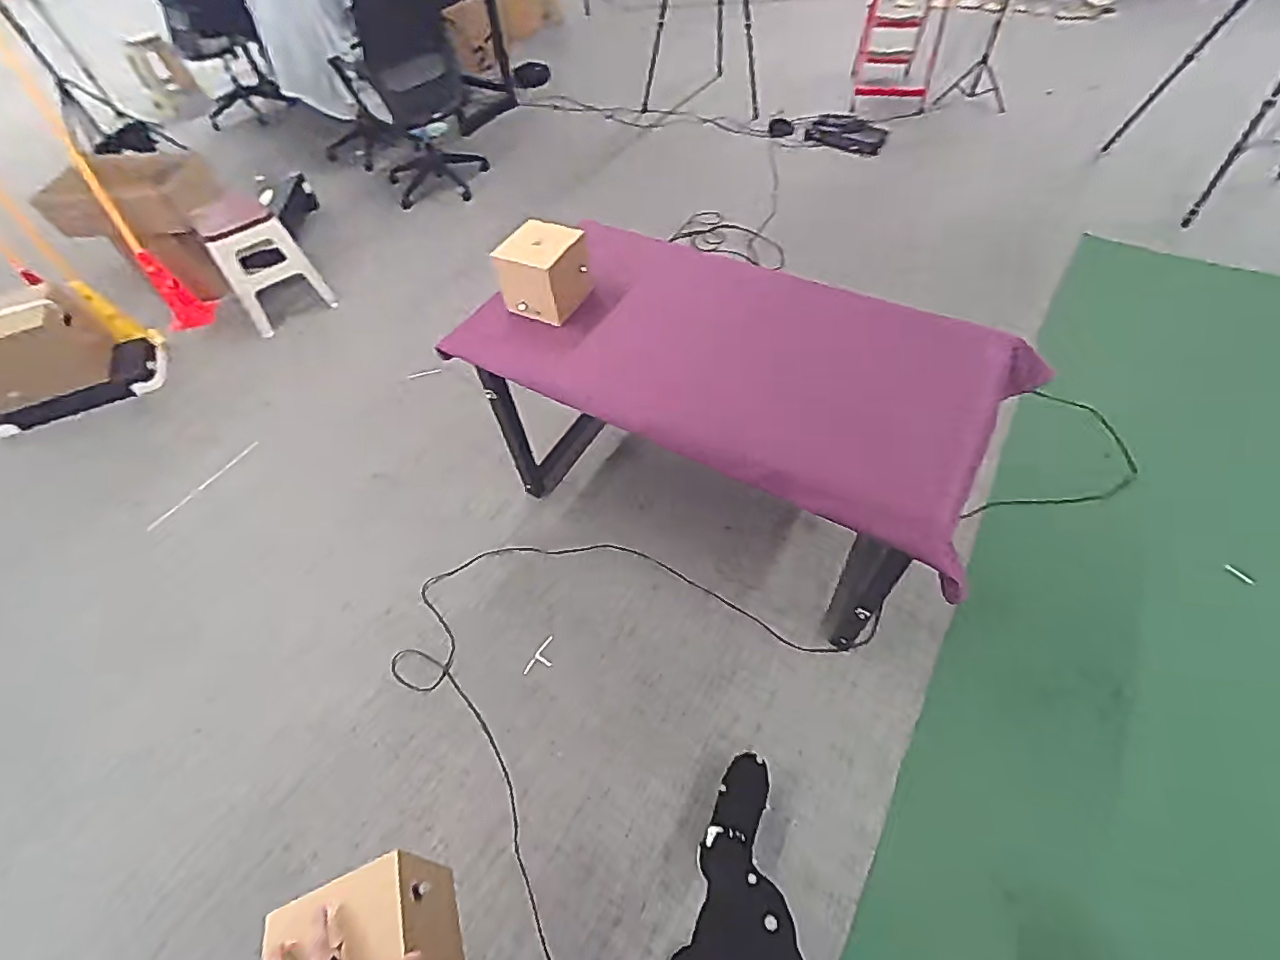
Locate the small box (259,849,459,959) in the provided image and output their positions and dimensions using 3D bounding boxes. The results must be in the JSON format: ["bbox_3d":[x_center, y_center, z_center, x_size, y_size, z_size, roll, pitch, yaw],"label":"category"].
[{"bbox_3d":[-0.338,0.603,0.669,0.168,0.176,0.179,-24,47,-9],"label":"small box"}]

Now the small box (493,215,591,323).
[{"bbox_3d":[-0.237,-0.530,1.362,0.168,0.176,0.179,21,59,19],"label":"small box"}]
